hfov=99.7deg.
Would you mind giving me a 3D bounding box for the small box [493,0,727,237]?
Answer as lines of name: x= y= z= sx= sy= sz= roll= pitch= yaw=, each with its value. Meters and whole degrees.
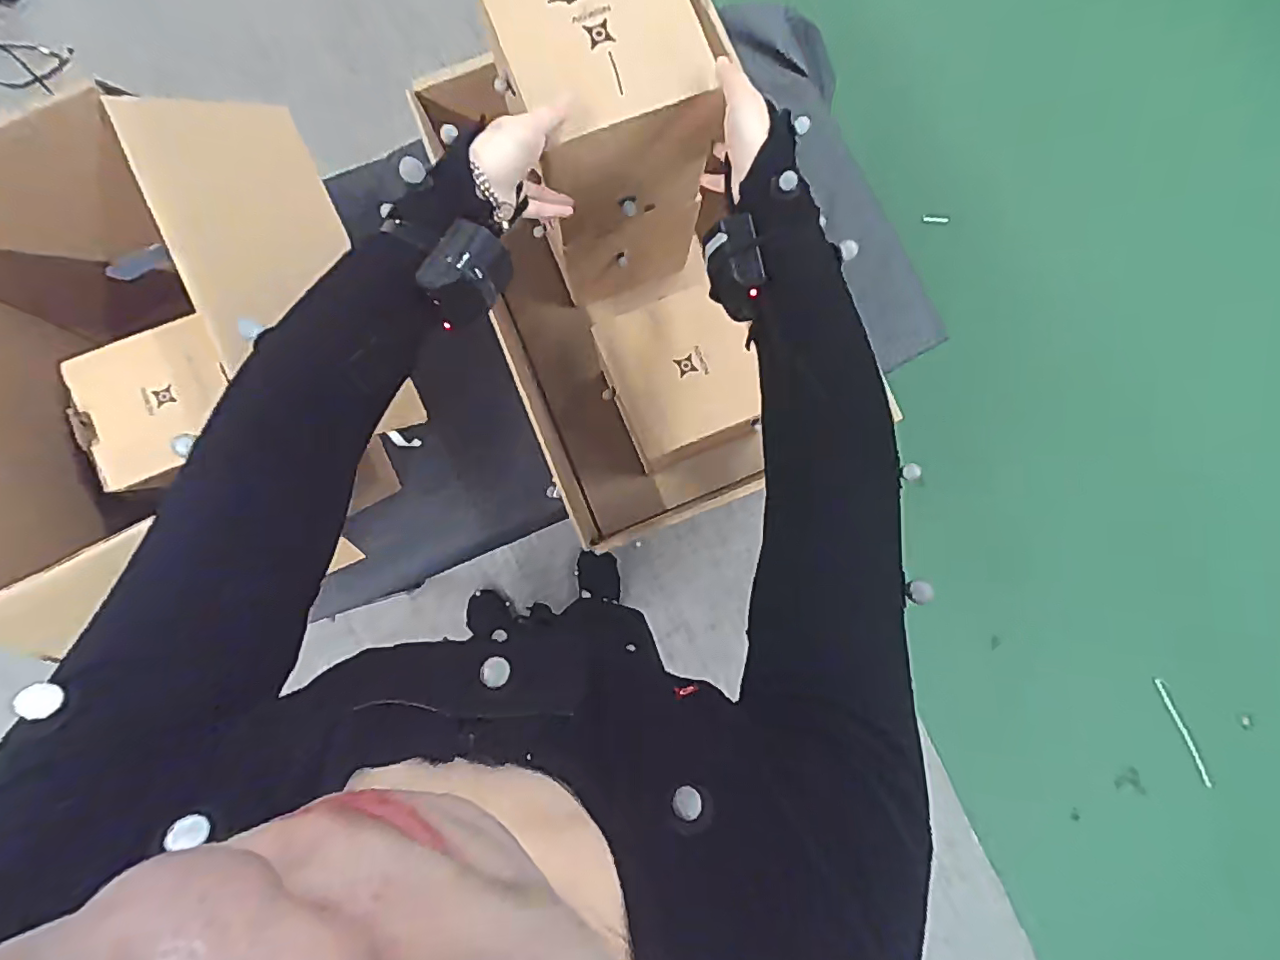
small box: x=-0.035 y=-0.383 z=0.539 sx=0.168 sy=0.176 sz=0.179 roll=-21 pitch=89 yaw=-3
